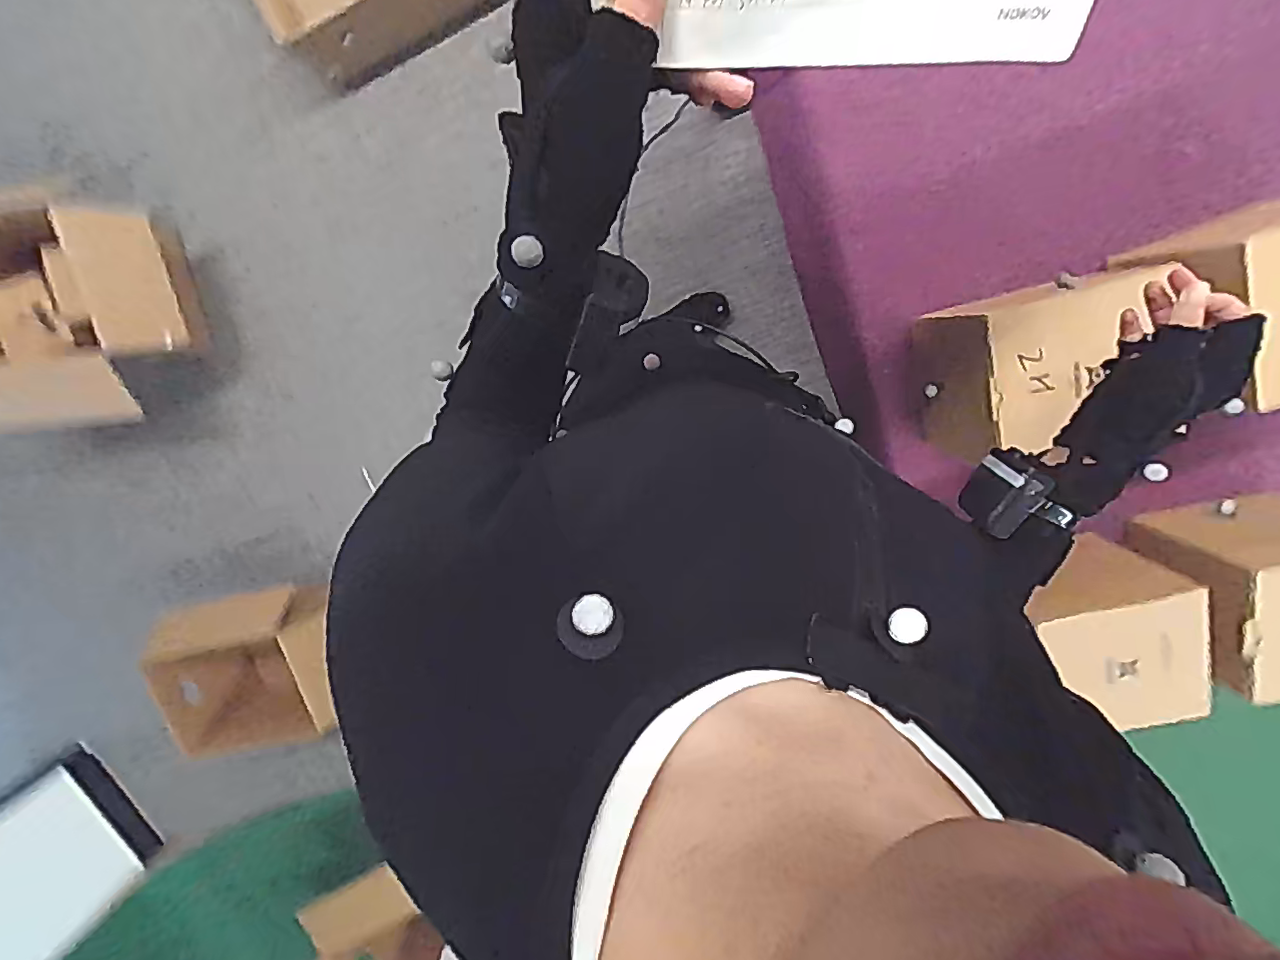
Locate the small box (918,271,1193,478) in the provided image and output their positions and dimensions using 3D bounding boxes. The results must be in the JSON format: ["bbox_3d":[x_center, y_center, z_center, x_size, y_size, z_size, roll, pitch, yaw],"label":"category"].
[{"bbox_3d":[0.436,-0.117,0.591,0.179,0.176,0.168,-13,103,7],"label":"small box"}]

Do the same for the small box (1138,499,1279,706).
[{"bbox_3d":[0.743,0.135,0.639,0.179,0.176,0.168,-11,104,7],"label":"small box"}]

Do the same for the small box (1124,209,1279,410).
[{"bbox_3d":[0.653,-0.184,0.562,0.179,0.176,0.168,-19,103,8],"label":"small box"}]
